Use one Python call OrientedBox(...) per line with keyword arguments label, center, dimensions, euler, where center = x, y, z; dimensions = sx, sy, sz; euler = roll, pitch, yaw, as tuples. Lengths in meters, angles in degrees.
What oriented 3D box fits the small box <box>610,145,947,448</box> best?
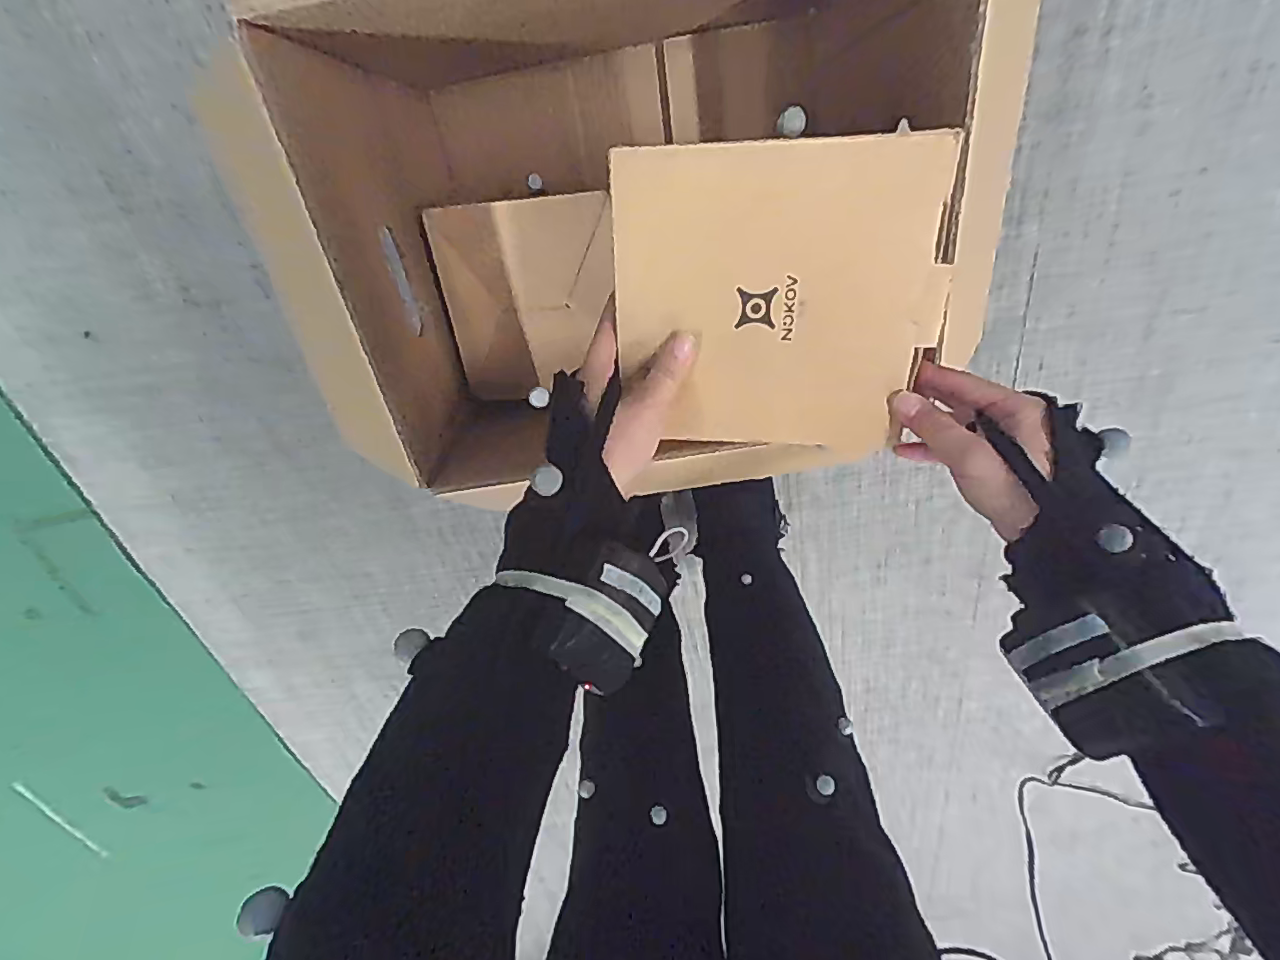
OrientedBox(label="small box", center=(0.083, -0.133, 0.388), dimensions=(0.179, 0.176, 0.168), euler=(3, 116, 9))
